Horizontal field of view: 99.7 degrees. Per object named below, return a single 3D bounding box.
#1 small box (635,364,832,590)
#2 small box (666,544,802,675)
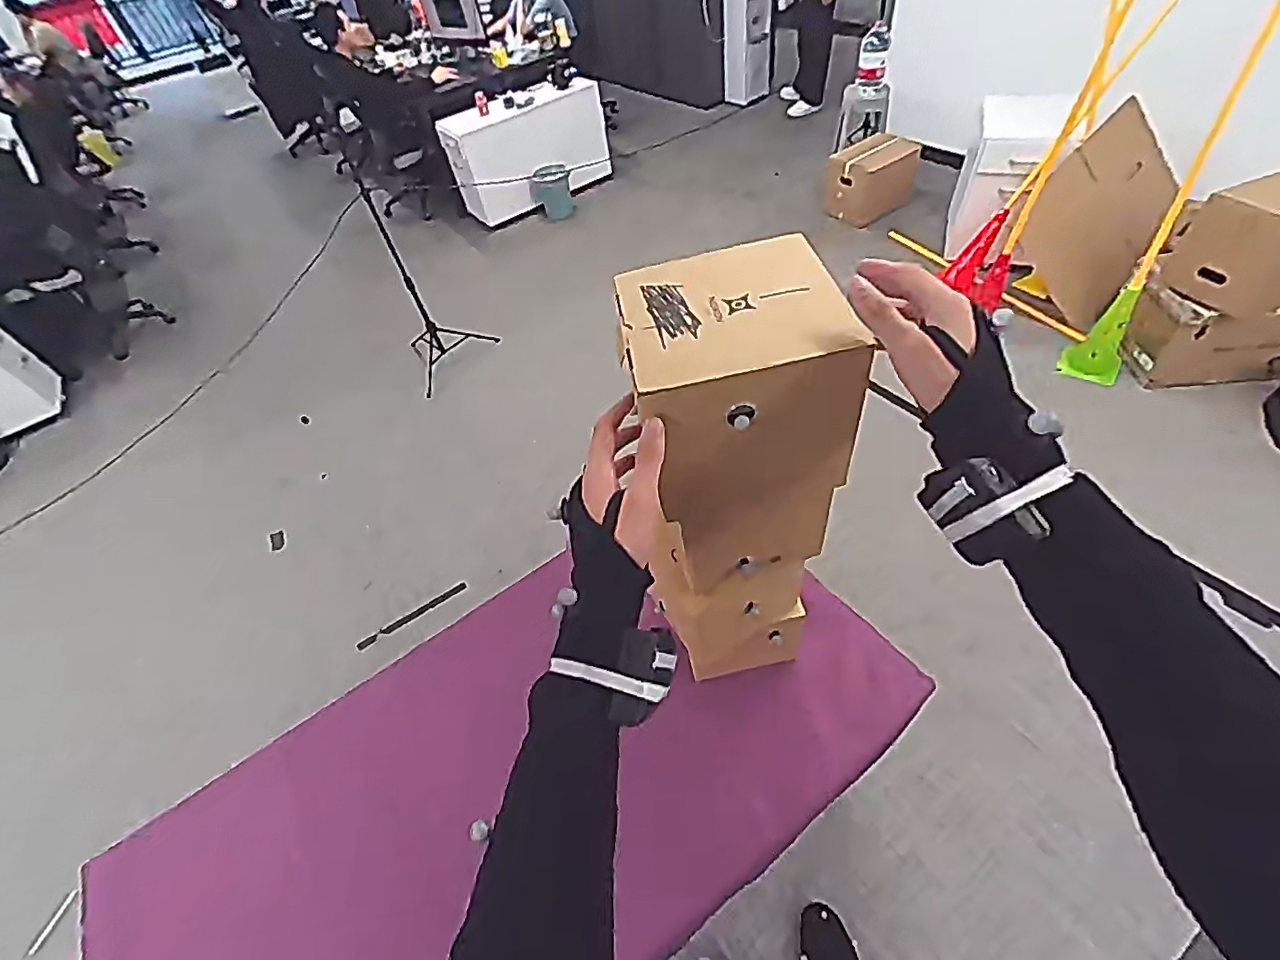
[{"bbox_3d":[0.101,-0.001,0.633,0.168,0.176,0.179,-17,52,-1],"label":"small box"},{"bbox_3d":[0.148,0.199,0.888,0.179,0.176,0.168,-13,50,0],"label":"small box"}]
